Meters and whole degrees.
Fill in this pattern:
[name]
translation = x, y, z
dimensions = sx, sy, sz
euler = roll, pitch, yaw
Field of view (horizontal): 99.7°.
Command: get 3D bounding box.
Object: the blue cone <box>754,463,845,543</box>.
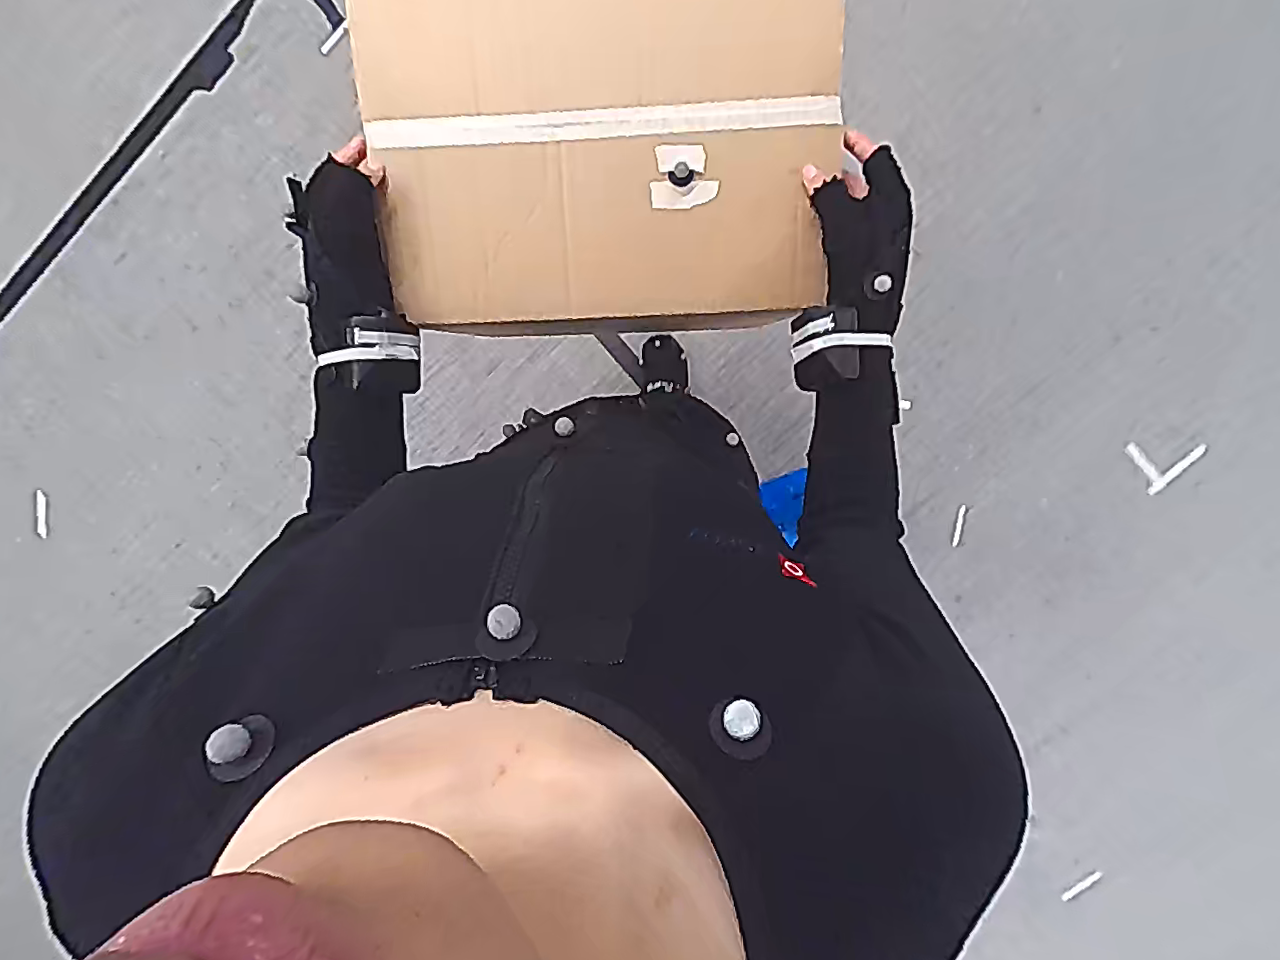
[blue cone]
translation = 0.420, 0.092, 1.314
dimensions = 0.193, 0.380, 0.192
euler = -20, 98, 4

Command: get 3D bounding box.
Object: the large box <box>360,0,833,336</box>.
[large box]
translation = -0.033, -0.344, 0.617
dimensions = 0.408, 0.320, 0.320
euler = -3, 103, 1
